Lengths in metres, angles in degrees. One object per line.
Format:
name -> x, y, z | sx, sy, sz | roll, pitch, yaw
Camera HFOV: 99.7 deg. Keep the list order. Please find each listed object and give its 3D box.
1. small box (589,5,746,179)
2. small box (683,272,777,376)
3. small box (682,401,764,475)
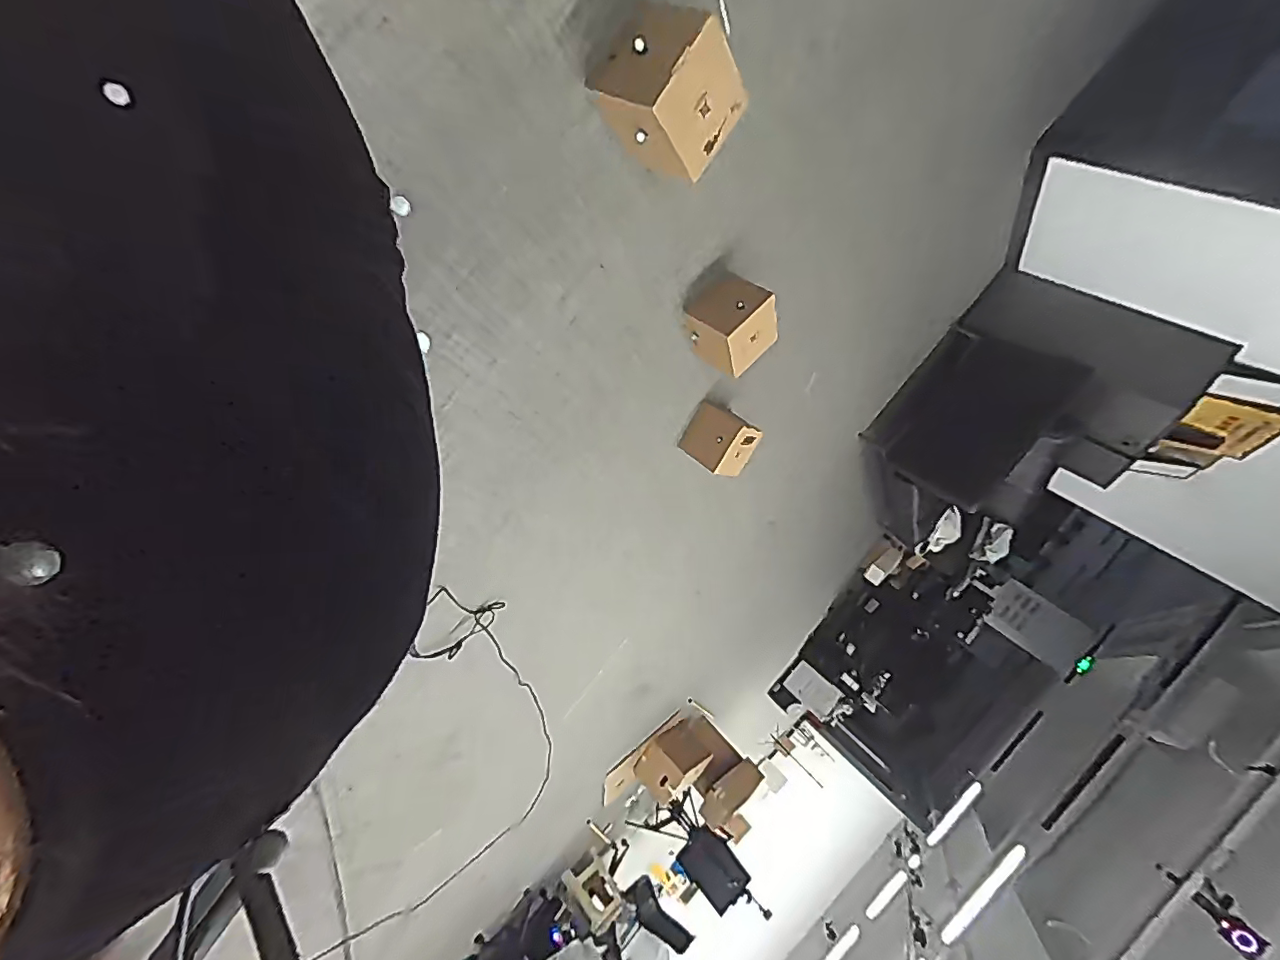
small box -> 0.045, -0.660, 0.925 | 0.168, 0.176, 0.179 | -55, 148, 7
small box -> 0.241, -0.418, 1.437 | 0.179, 0.176, 0.168 | -44, 148, -10
small box -> 0.267, -0.138, 1.766 | 0.168, 0.176, 0.179 | 5, 120, -53
